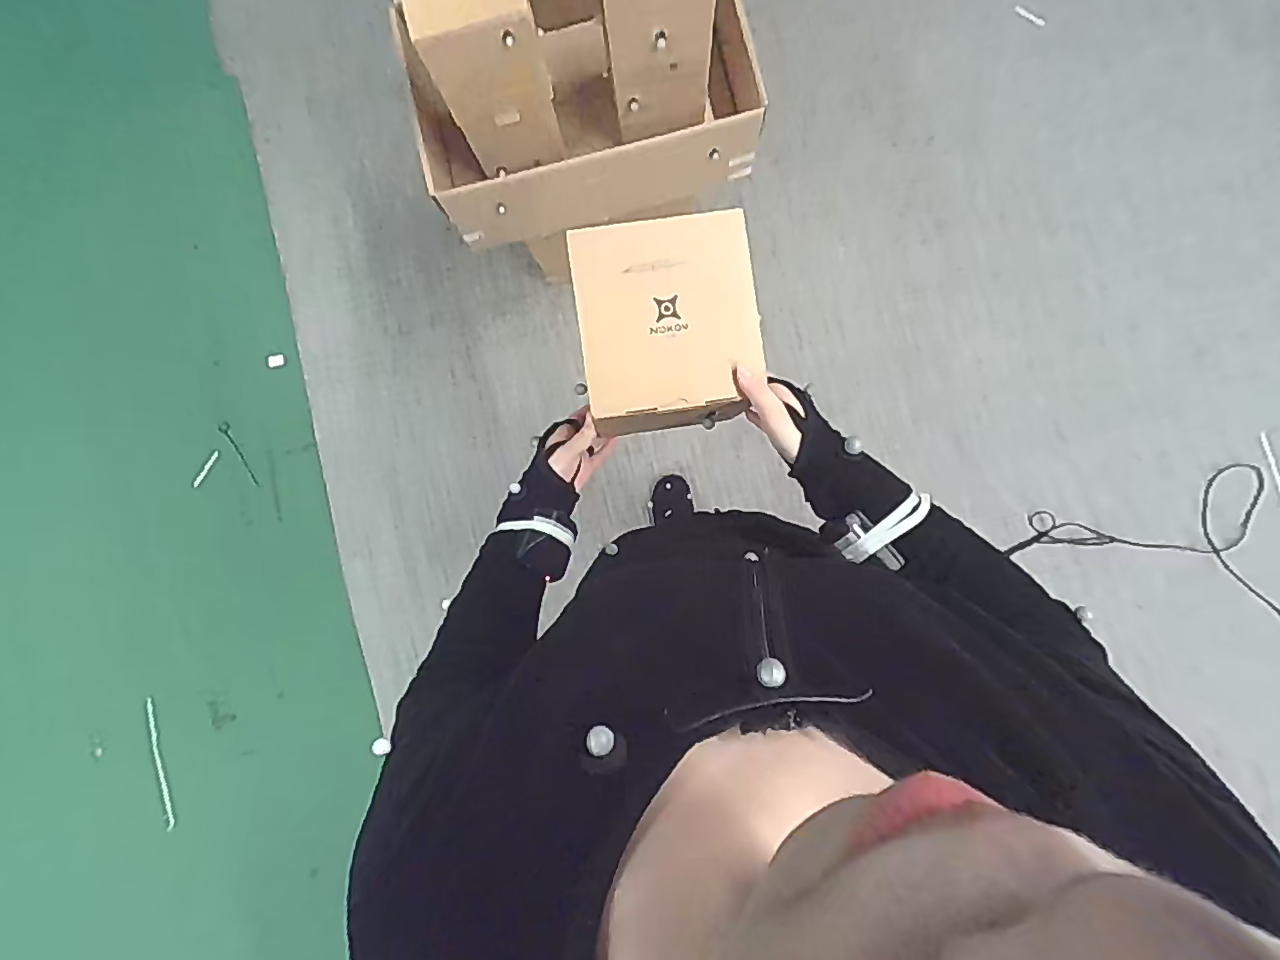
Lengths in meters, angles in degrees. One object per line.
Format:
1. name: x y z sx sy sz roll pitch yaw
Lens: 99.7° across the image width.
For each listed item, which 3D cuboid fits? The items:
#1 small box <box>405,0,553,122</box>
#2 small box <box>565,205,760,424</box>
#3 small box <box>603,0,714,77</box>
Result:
1. small box: -0.253 -0.713 0.857 0.179 0.176 0.168 -15 86 2
2. small box: 0.020 -0.157 0.573 0.168 0.176 0.179 -7 89 -1
3. small box: 0.024 -0.769 0.840 0.168 0.176 0.179 -7 87 3
